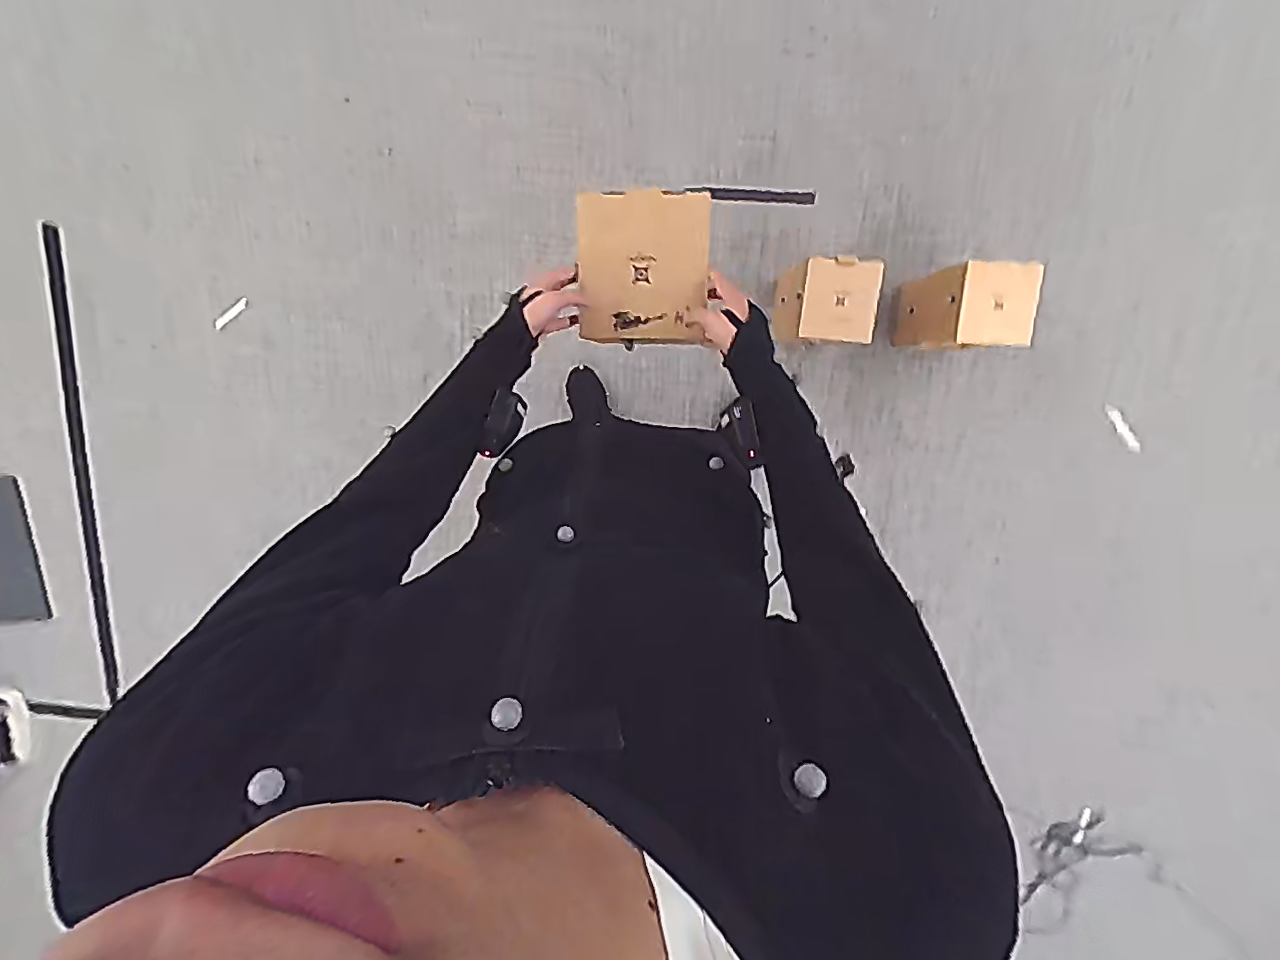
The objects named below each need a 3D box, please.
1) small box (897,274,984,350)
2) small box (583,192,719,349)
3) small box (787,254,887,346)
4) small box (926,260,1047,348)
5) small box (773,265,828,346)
[{"bbox_3d":[0.796,-0.434,1.419,0.168,0.176,0.179,2,101,1],"label":"small box"},{"bbox_3d":[0.015,-0.275,0.743,0.168,0.176,0.179,2,102,3],"label":"small box"},{"bbox_3d":[0.451,-0.414,1.267,0.168,0.176,0.179,6,102,2],"label":"small box"},{"bbox_3d":[0.794,-0.401,1.260,0.168,0.176,0.179,3,101,1],"label":"small box"},{"bbox_3d":[0.457,-0.454,1.426,0.168,0.176,0.179,6,103,1],"label":"small box"}]
